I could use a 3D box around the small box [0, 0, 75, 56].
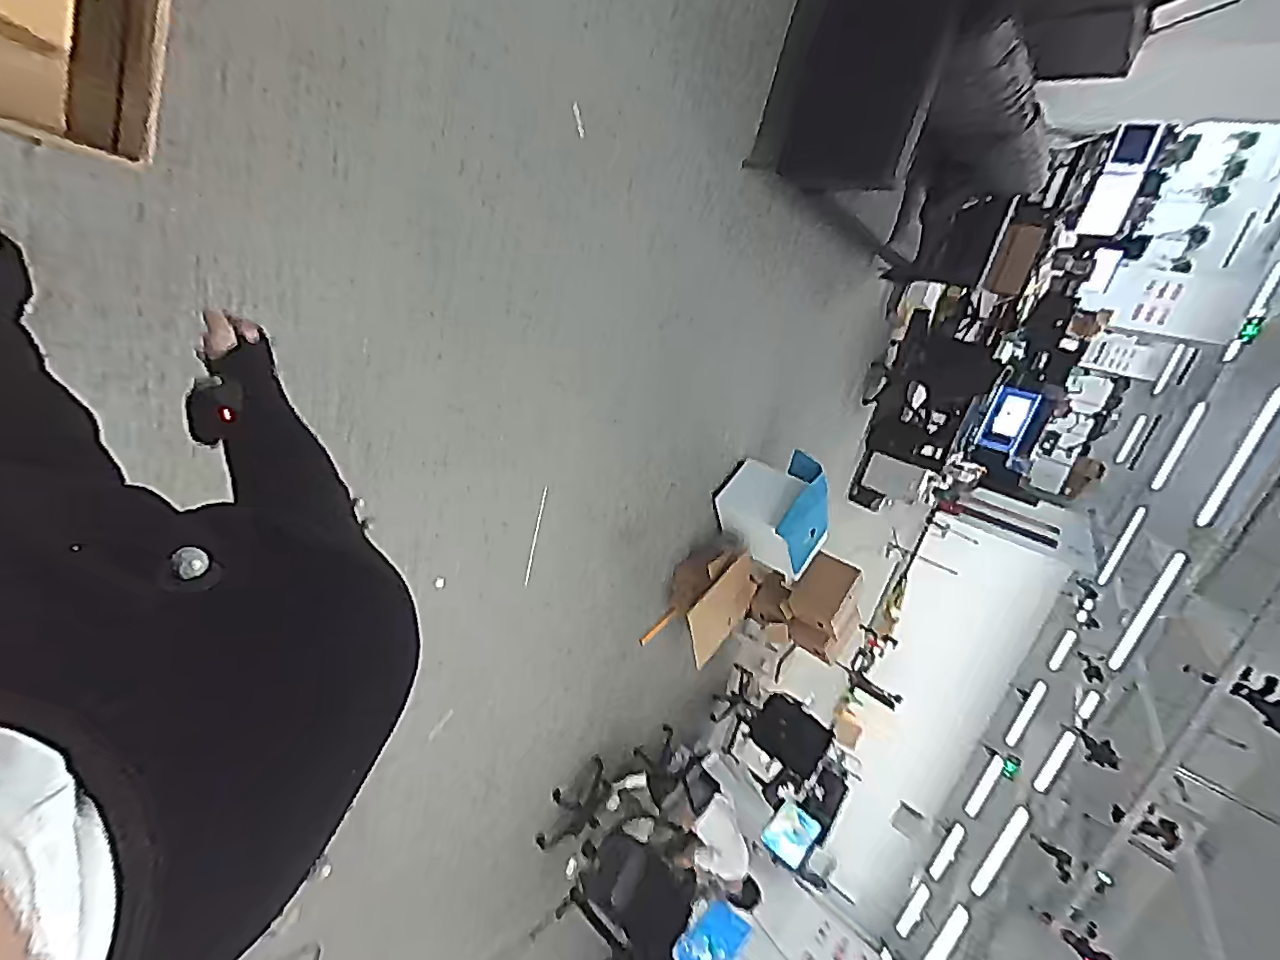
[{"bbox_3d":[-0.715,-0.587,0.562,0.168,0.176,0.179,3,110,-54],"label":"small box"}]
